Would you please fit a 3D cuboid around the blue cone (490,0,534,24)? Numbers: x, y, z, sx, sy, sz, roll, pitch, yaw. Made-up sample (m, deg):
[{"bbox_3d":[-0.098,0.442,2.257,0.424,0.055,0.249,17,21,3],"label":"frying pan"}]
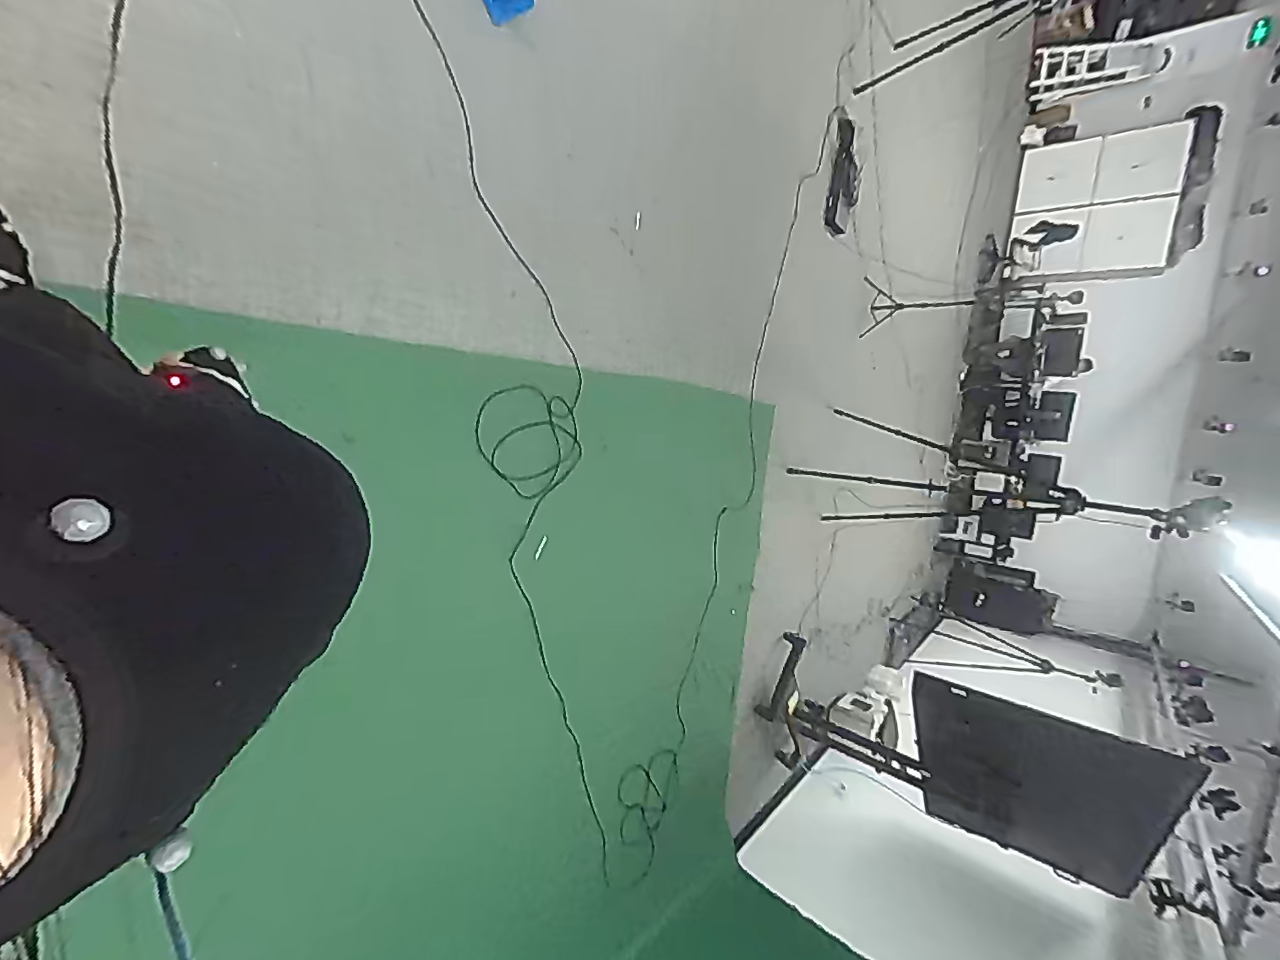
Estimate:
[{"bbox_3d":[-0.274,-1.449,1.467,0.193,0.380,0.192,-57,135,-28],"label":"blue cone"}]
